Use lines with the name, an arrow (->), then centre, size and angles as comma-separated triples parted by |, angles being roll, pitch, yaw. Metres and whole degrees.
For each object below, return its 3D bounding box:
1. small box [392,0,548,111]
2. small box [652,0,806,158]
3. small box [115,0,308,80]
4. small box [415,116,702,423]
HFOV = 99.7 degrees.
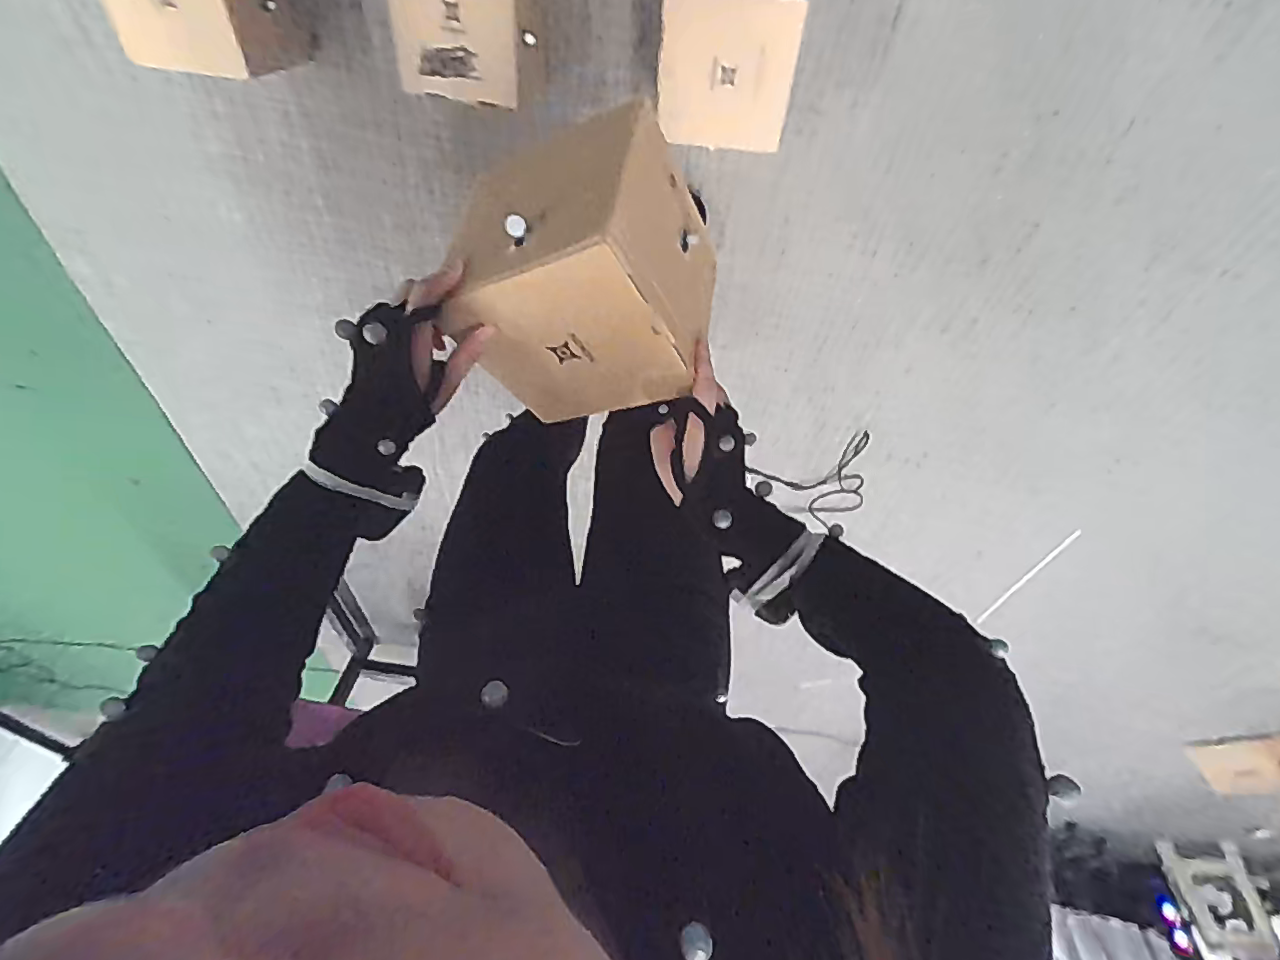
small box -> -0.228, -0.650, 0.756 | 0.168, 0.176, 0.179 | 10, 135, 0
small box -> 0.119, -0.581, 0.765 | 0.179, 0.176, 0.168 | 8, 137, 2
small box -> -0.613, -0.701, 0.774 | 0.179, 0.176, 0.168 | 9, 135, 1
small box -> -0.058, -0.175, 0.487 | 0.179, 0.176, 0.168 | -7, 149, 28
